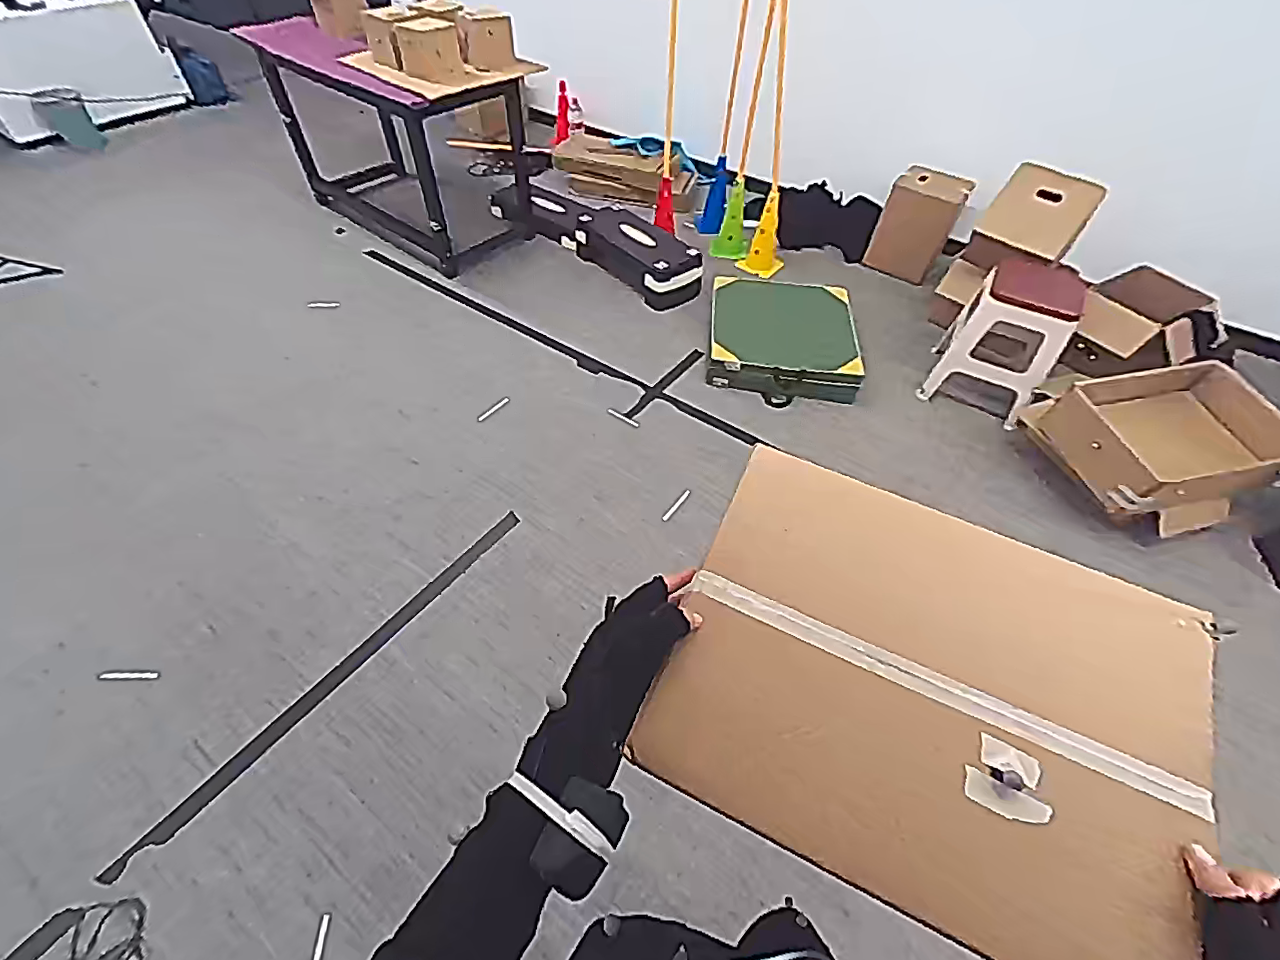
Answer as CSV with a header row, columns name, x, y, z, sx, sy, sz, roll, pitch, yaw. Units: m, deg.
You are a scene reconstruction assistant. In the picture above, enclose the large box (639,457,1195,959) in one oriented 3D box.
name,x,y,z,sx,sy,sz,roll,pitch,yaw
large box,0.241,0.236,0.587,0.408,0.320,0.320,23,67,13
